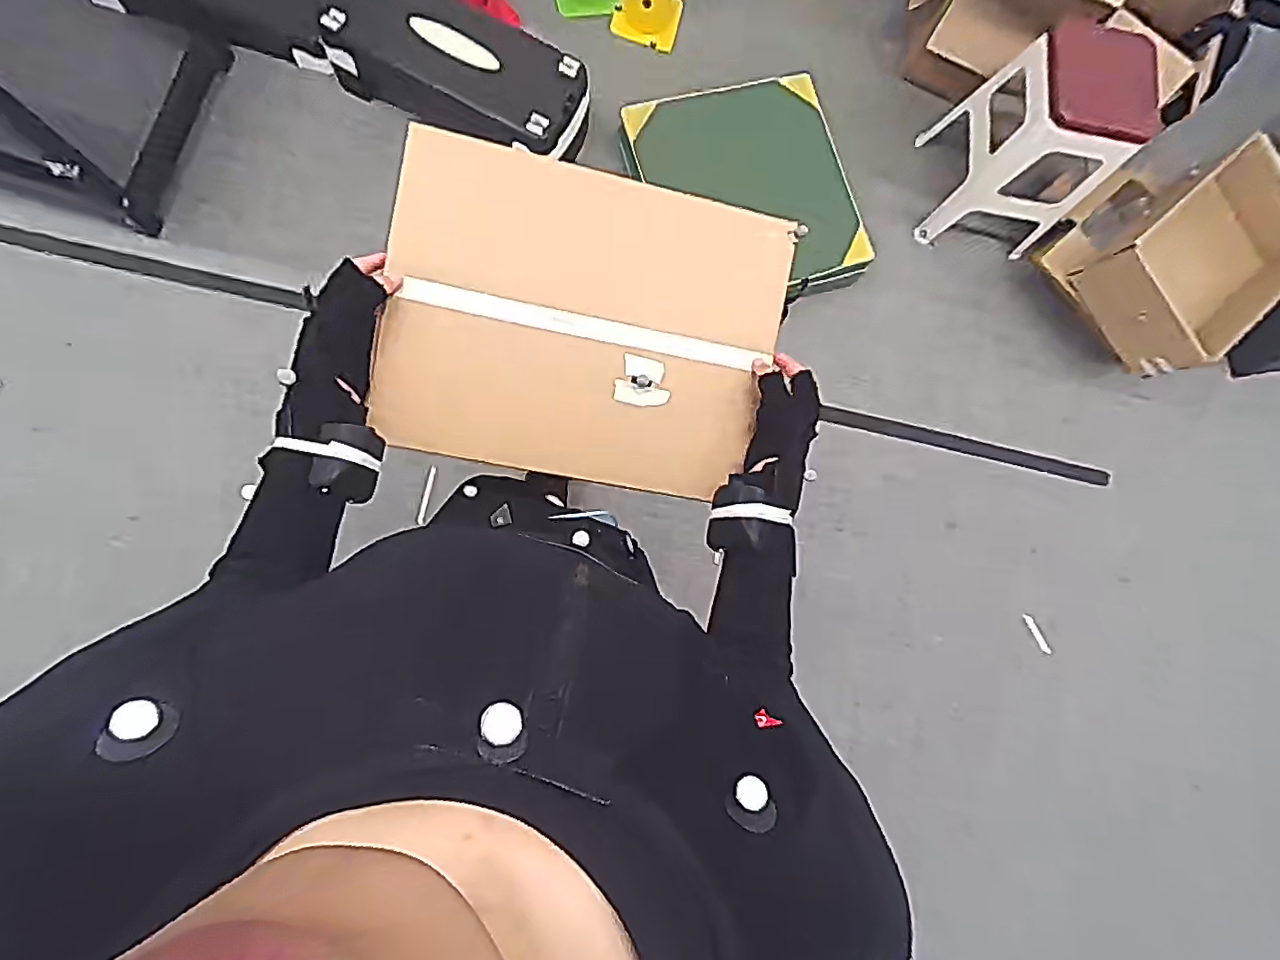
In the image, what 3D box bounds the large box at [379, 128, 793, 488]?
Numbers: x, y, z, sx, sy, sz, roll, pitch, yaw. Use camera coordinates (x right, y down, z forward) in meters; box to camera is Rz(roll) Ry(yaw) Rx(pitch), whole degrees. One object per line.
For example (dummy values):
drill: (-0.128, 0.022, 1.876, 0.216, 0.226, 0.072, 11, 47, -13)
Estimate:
large box: (-0.072, -0.182, 0.720, 0.408, 0.320, 0.320, 11, 93, -9)
